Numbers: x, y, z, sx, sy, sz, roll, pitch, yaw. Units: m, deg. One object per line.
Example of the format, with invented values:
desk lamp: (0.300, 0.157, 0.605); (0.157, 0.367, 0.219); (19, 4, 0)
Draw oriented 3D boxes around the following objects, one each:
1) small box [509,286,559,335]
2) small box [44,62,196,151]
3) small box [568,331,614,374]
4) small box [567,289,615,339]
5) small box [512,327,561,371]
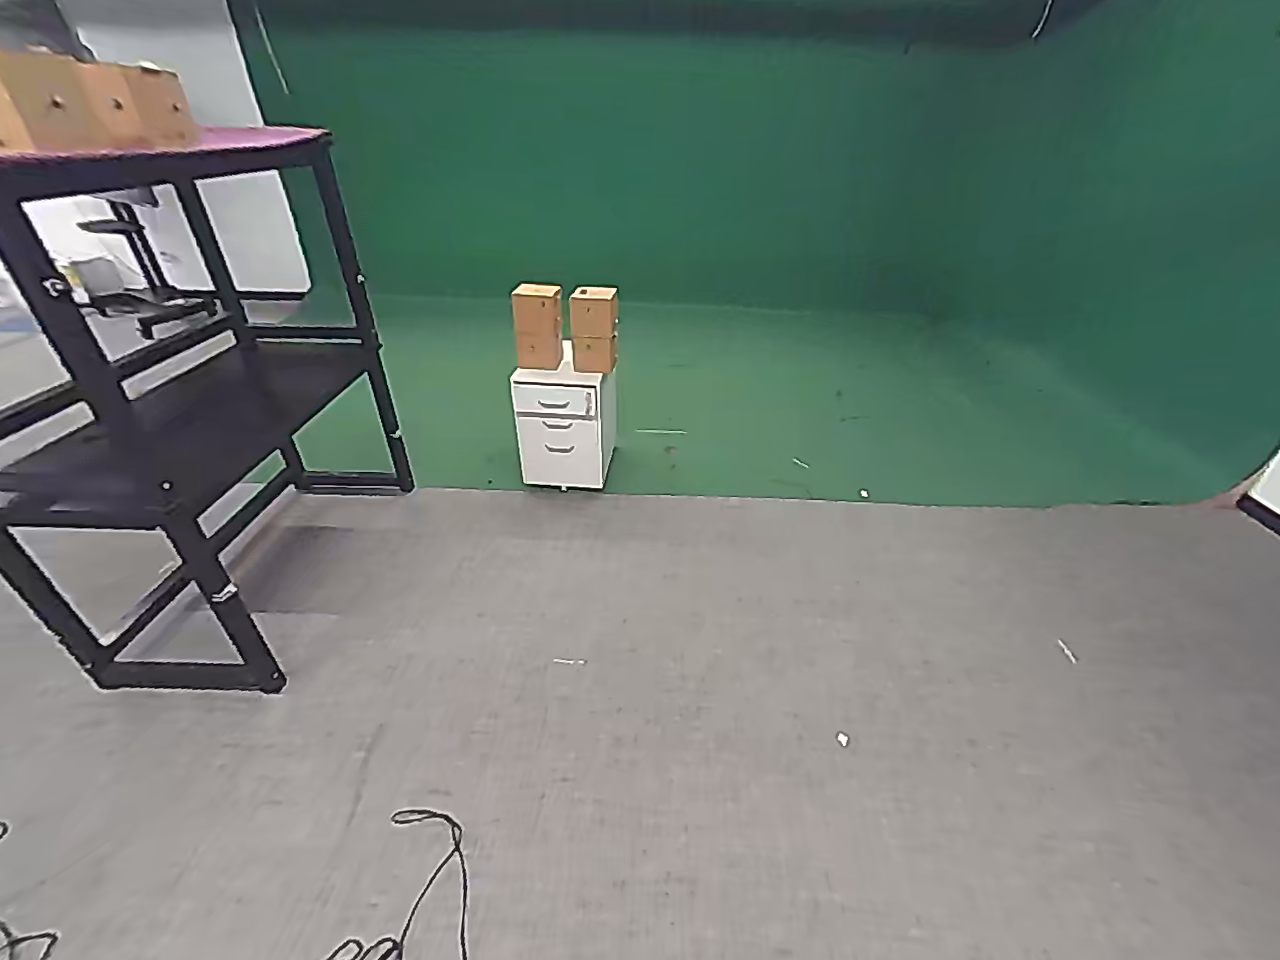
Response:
small box: (-0.459, -0.739, 2.359); (0.179, 0.176, 0.168); (6, 34, 3)
small box: (-1.246, -0.904, 1.316); (0.179, 0.176, 0.168); (2, 32, 2)
small box: (-0.215, -0.582, 2.421); (0.179, 0.176, 0.168); (5, 35, 6)
small box: (-0.207, -0.716, 2.326); (0.179, 0.176, 0.168); (5, 34, 6)
small box: (-0.463, -0.602, 2.448); (0.179, 0.176, 0.168); (4, 34, 3)
